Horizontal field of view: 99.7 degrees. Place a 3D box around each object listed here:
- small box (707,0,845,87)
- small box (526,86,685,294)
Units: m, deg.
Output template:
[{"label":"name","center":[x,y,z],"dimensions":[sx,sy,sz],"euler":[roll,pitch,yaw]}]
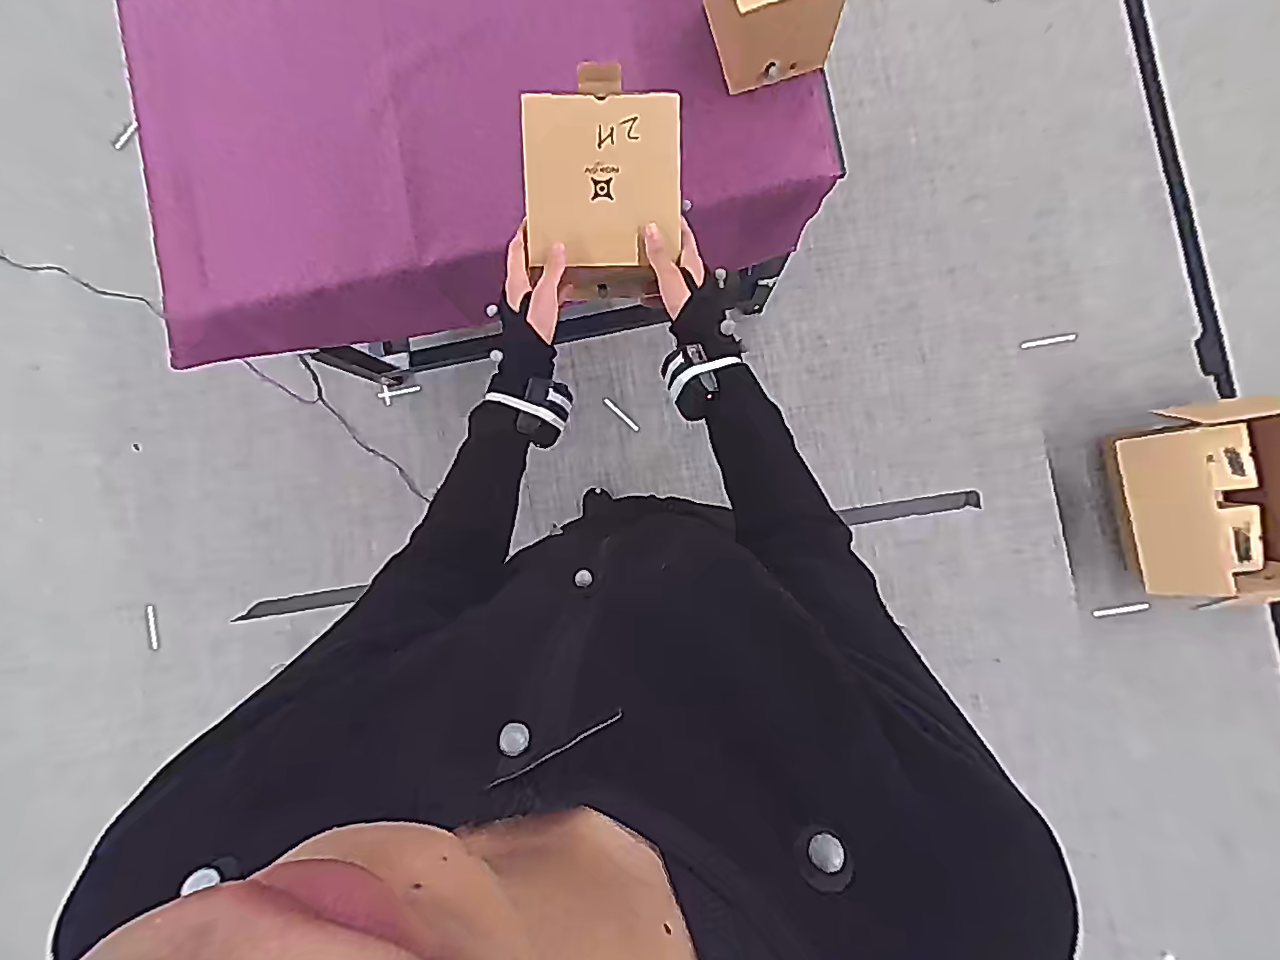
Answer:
[{"label":"small box","center":[0.202,-0.758,0.824],"dimensions":[0.168,0.176,0.179],"euler":[-15,88,5]},{"label":"small box","center":[-0.038,-0.325,0.642],"dimensions":[0.168,0.176,0.179],"euler":[-1,97,-2]}]
